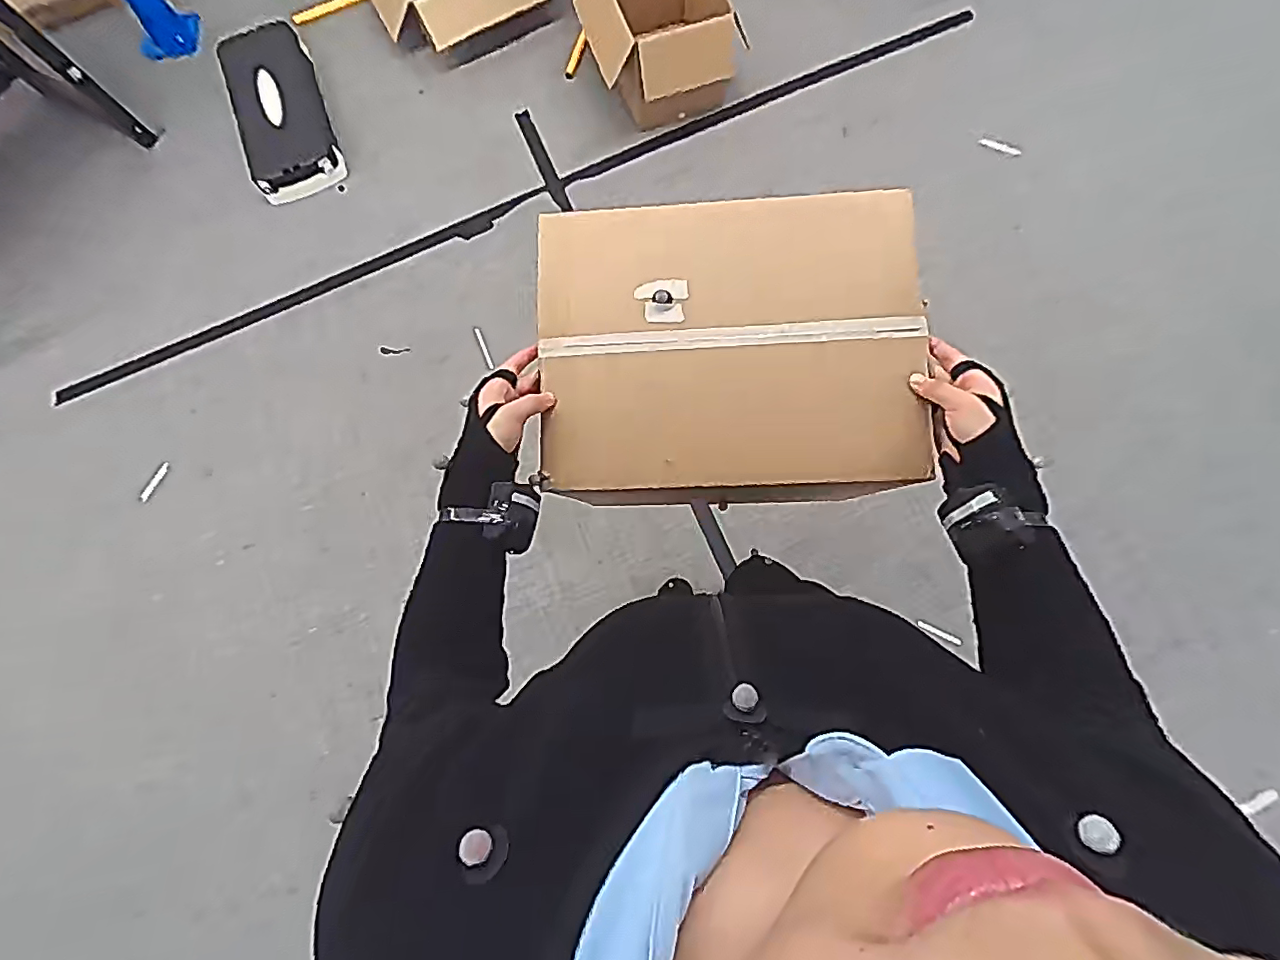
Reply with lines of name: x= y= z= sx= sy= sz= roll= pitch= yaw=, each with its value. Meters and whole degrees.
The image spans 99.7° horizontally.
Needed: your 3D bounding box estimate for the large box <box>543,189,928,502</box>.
large box: x=0.107 y=-0.140 z=0.735 sx=0.408 sy=0.320 sz=0.320 roll=-3 pitch=82 yaw=5
